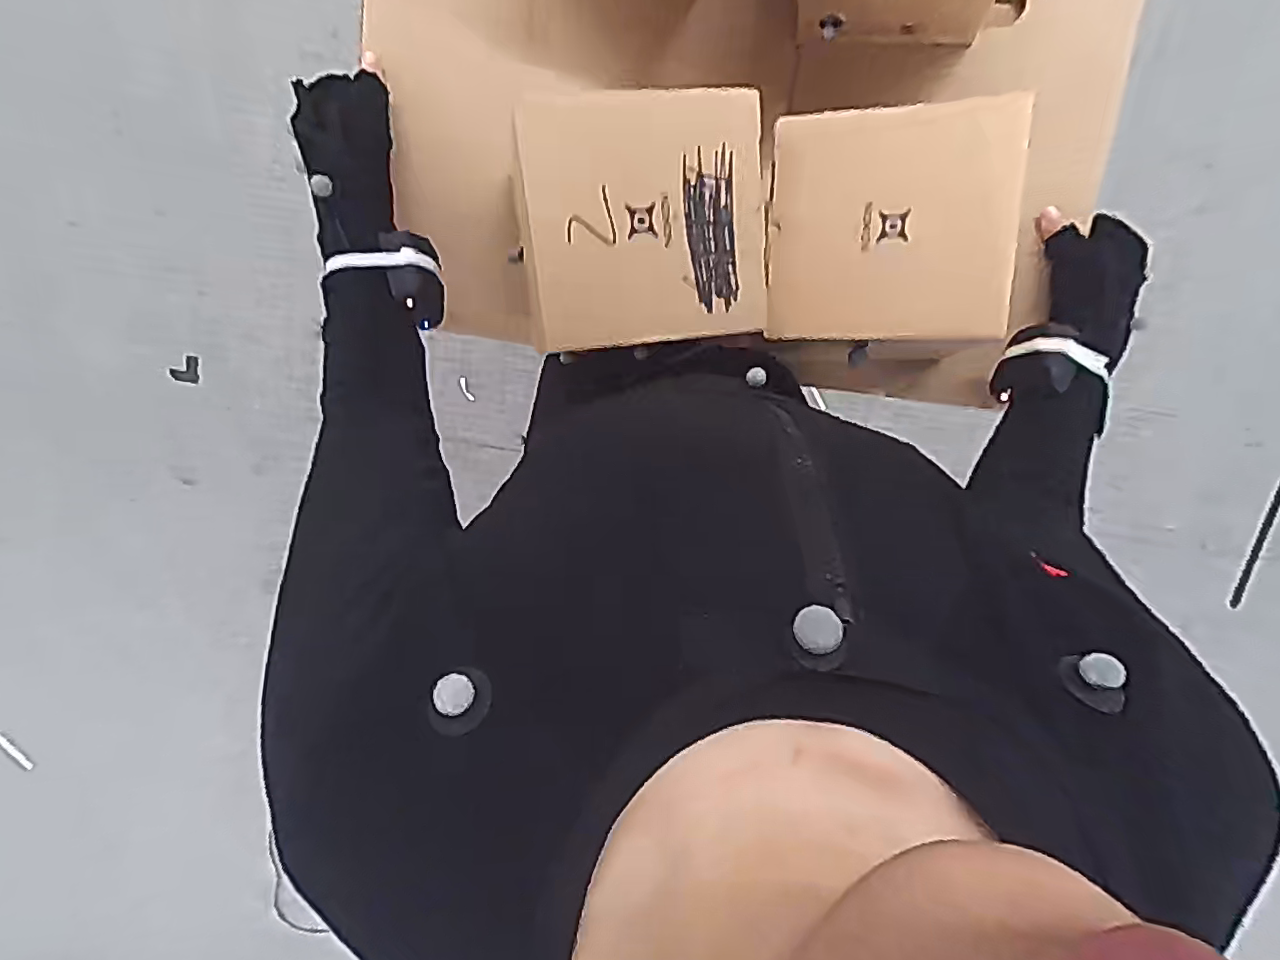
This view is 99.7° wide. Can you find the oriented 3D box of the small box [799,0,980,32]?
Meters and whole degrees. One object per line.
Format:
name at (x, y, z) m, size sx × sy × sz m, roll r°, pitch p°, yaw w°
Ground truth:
small box at (0.230, -0.516, 0.446) m, size 0.168 × 0.176 × 0.179 m, roll 12°, pitch 97°, yaw 14°
